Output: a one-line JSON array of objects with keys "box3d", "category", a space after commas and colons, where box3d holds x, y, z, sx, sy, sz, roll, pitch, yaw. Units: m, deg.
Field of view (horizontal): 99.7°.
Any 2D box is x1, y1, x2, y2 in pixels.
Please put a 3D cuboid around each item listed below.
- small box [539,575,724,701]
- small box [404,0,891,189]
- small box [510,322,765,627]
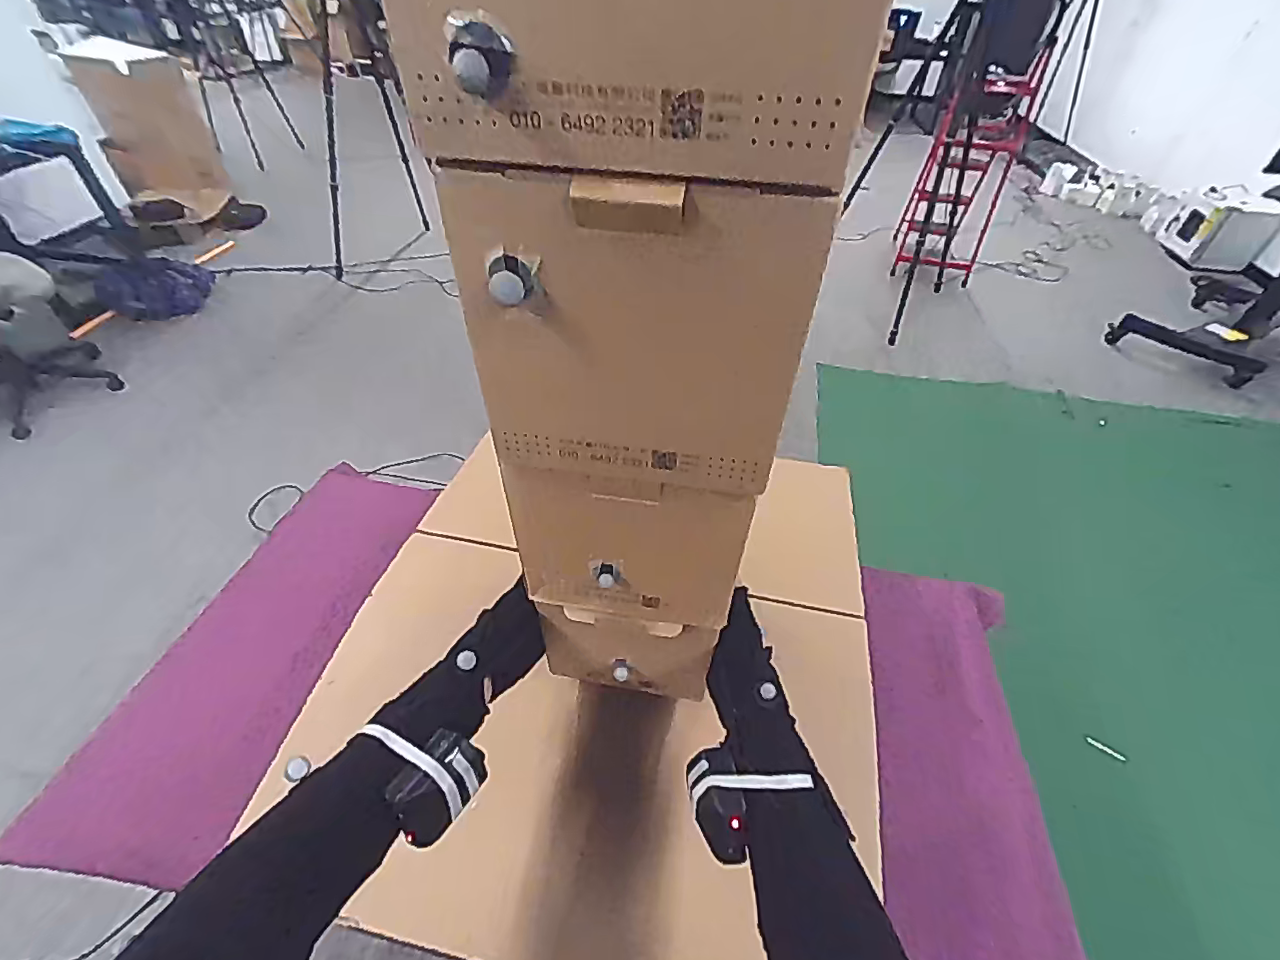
[{"box3d": [0.005, 0.103, 0.572, 0.168, 0.176, 0.179, 8, 46, 7], "category": "small box"}, {"box3d": [0.011, -0.229, 0.208, 0.168, 0.176, 0.179, 8, 45, 5], "category": "small box"}, {"box3d": [0.006, -0.005, 0.450, 0.168, 0.176, 0.179, 7, 47, 5], "category": "small box"}]
